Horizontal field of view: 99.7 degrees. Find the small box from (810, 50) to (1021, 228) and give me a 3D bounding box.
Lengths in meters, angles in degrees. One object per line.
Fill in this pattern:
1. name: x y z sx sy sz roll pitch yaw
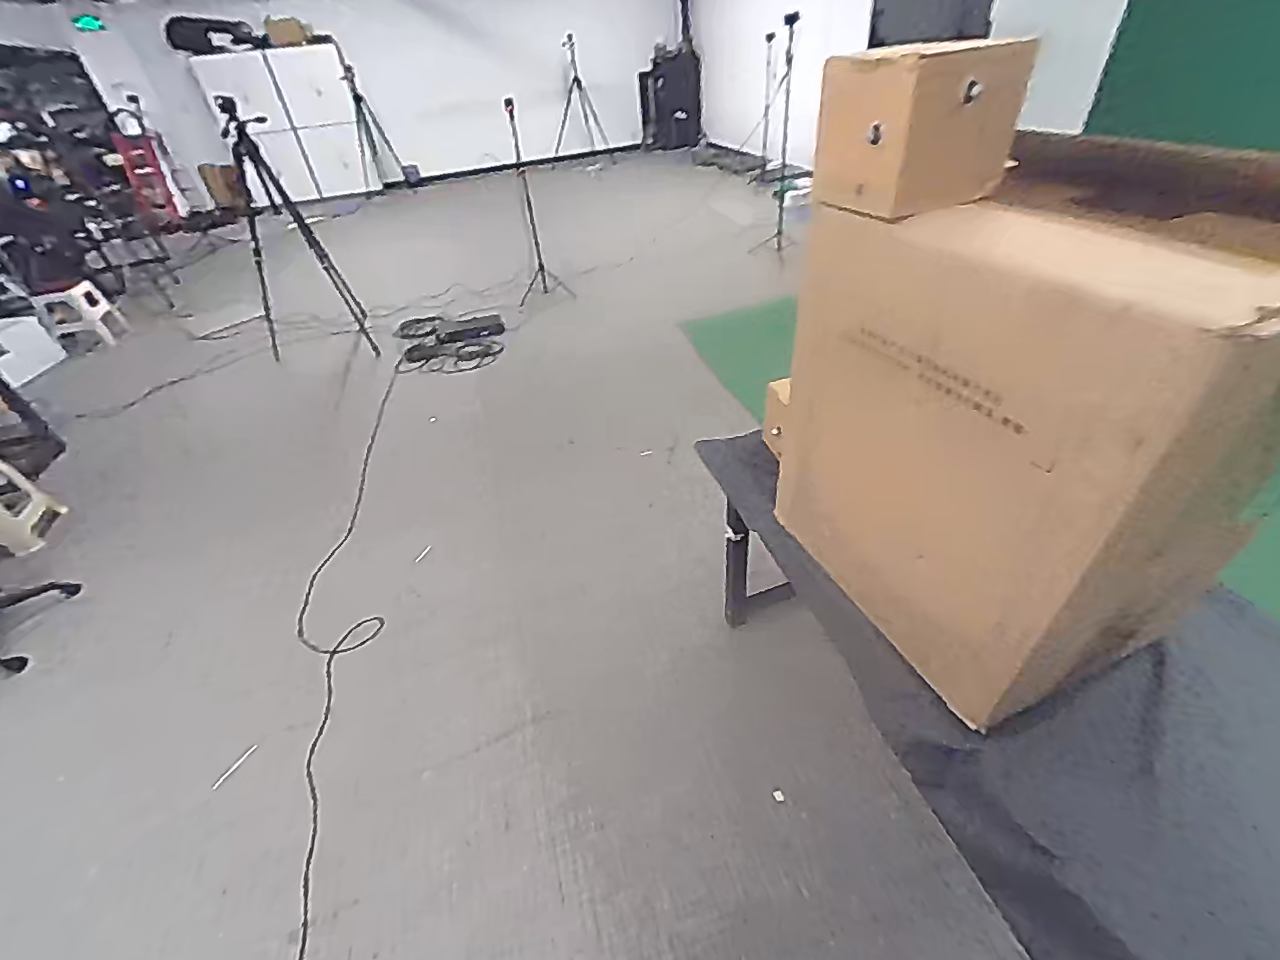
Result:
1. small box: 0.340 -0.444 0.709 0.179 0.176 0.168 -17 40 -14
